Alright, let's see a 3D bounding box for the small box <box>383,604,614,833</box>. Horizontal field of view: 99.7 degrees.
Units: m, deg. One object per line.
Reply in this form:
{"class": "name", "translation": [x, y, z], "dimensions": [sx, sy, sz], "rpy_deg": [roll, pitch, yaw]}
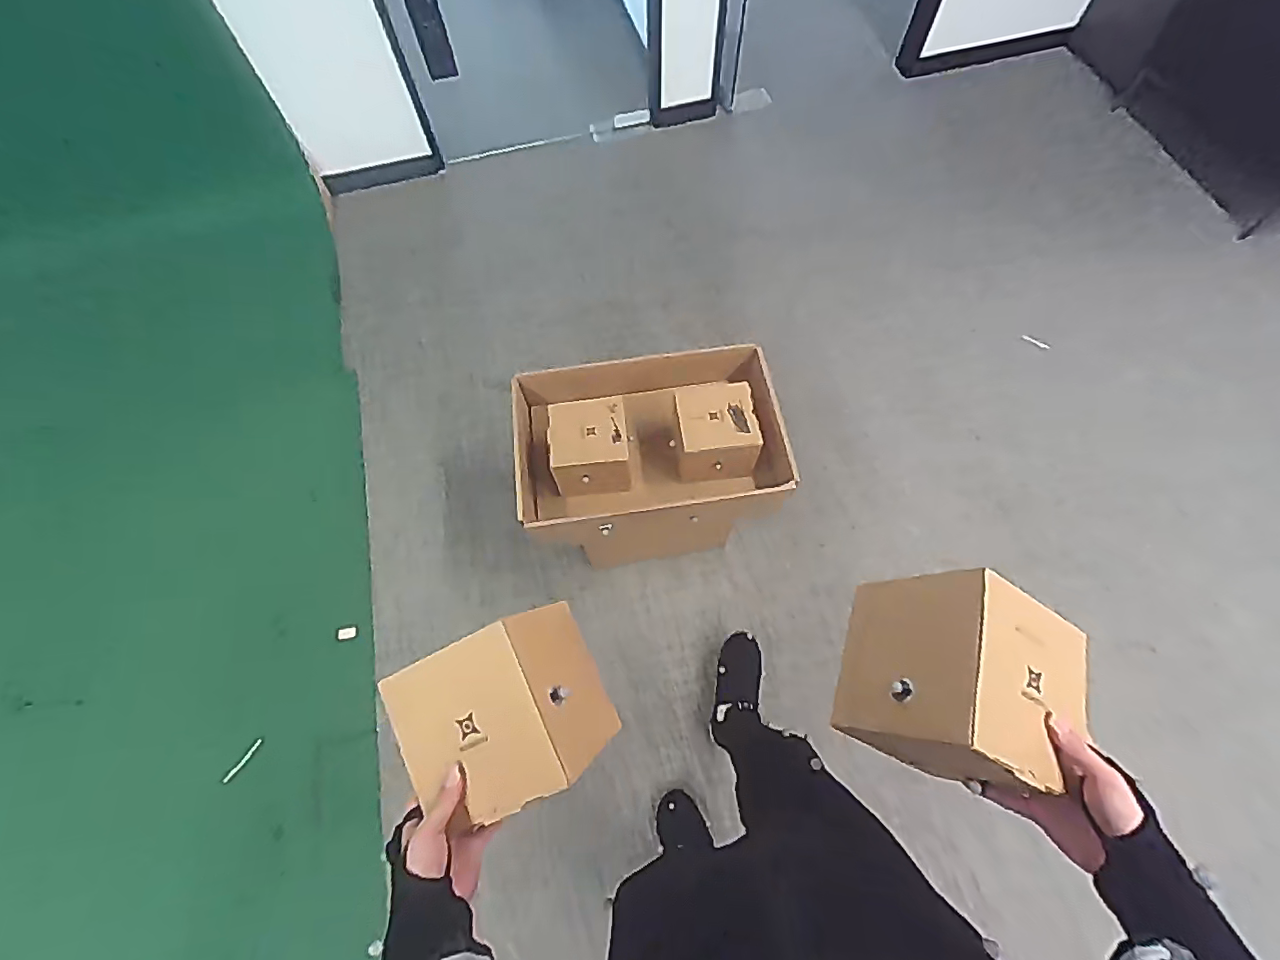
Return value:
{"class": "small box", "translation": [-0.153, 0.256, 0.630], "dimensions": [0.168, 0.176, 0.179], "rpy_deg": [-28, 78, 10]}

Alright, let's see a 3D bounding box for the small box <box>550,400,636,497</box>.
{"class": "small box", "translation": [-0.108, -0.068, 1.279], "dimensions": [0.179, 0.176, 0.168], "rpy_deg": [-6, 65, 0]}

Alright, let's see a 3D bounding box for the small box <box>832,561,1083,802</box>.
{"class": "small box", "translation": [0.337, 0.213, 0.590], "dimensions": [0.168, 0.176, 0.179], "rpy_deg": [31, 62, -15]}
